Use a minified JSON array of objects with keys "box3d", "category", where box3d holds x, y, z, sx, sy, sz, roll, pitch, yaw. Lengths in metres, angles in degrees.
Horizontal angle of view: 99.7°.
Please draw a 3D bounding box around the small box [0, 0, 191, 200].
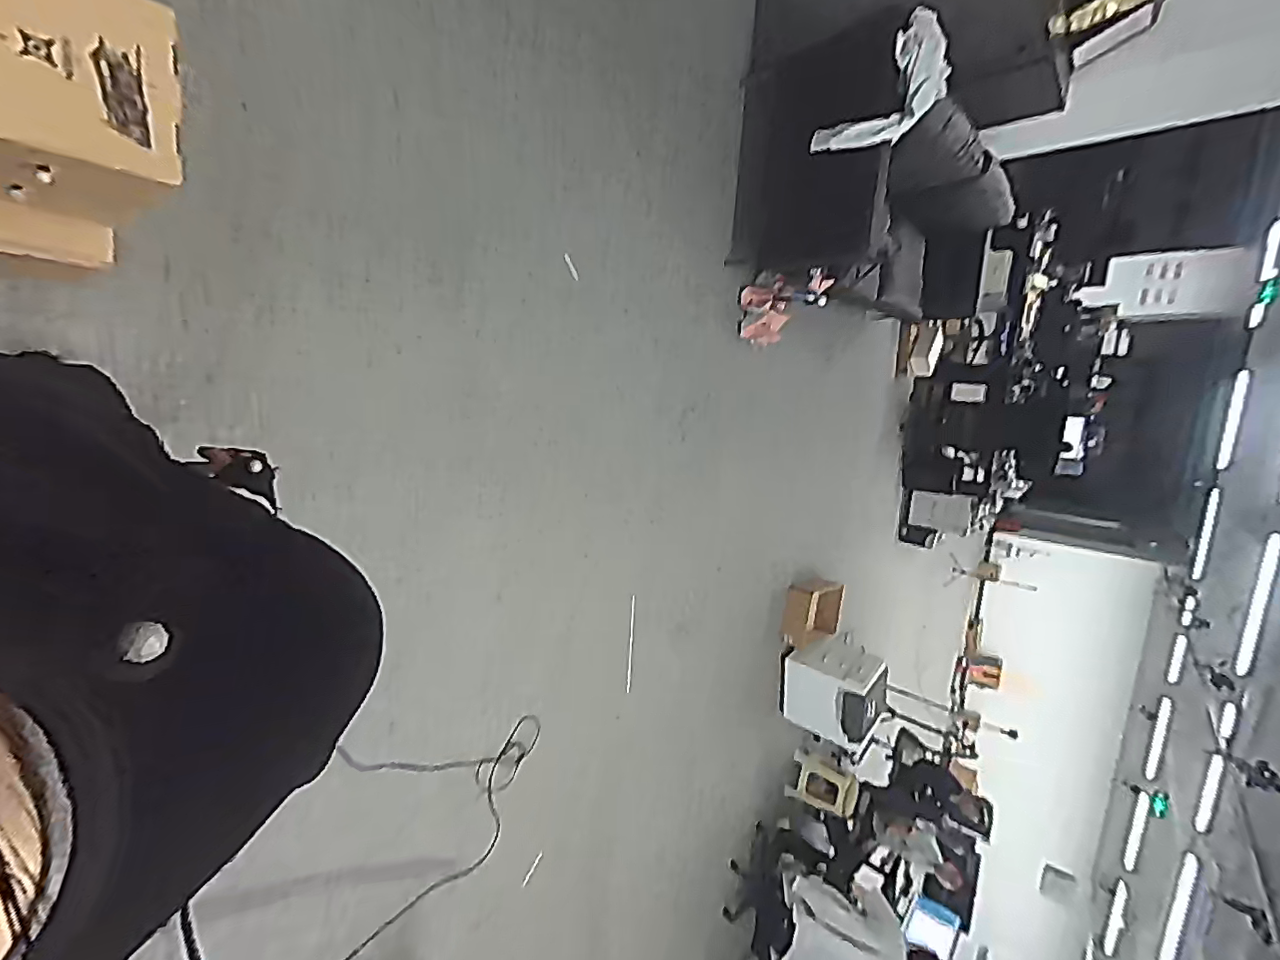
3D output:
[{"box3d":[-0.575,-0.394,0.534,0.179,0.176,0.168,-3,103,-49],"category":"small box"}]
